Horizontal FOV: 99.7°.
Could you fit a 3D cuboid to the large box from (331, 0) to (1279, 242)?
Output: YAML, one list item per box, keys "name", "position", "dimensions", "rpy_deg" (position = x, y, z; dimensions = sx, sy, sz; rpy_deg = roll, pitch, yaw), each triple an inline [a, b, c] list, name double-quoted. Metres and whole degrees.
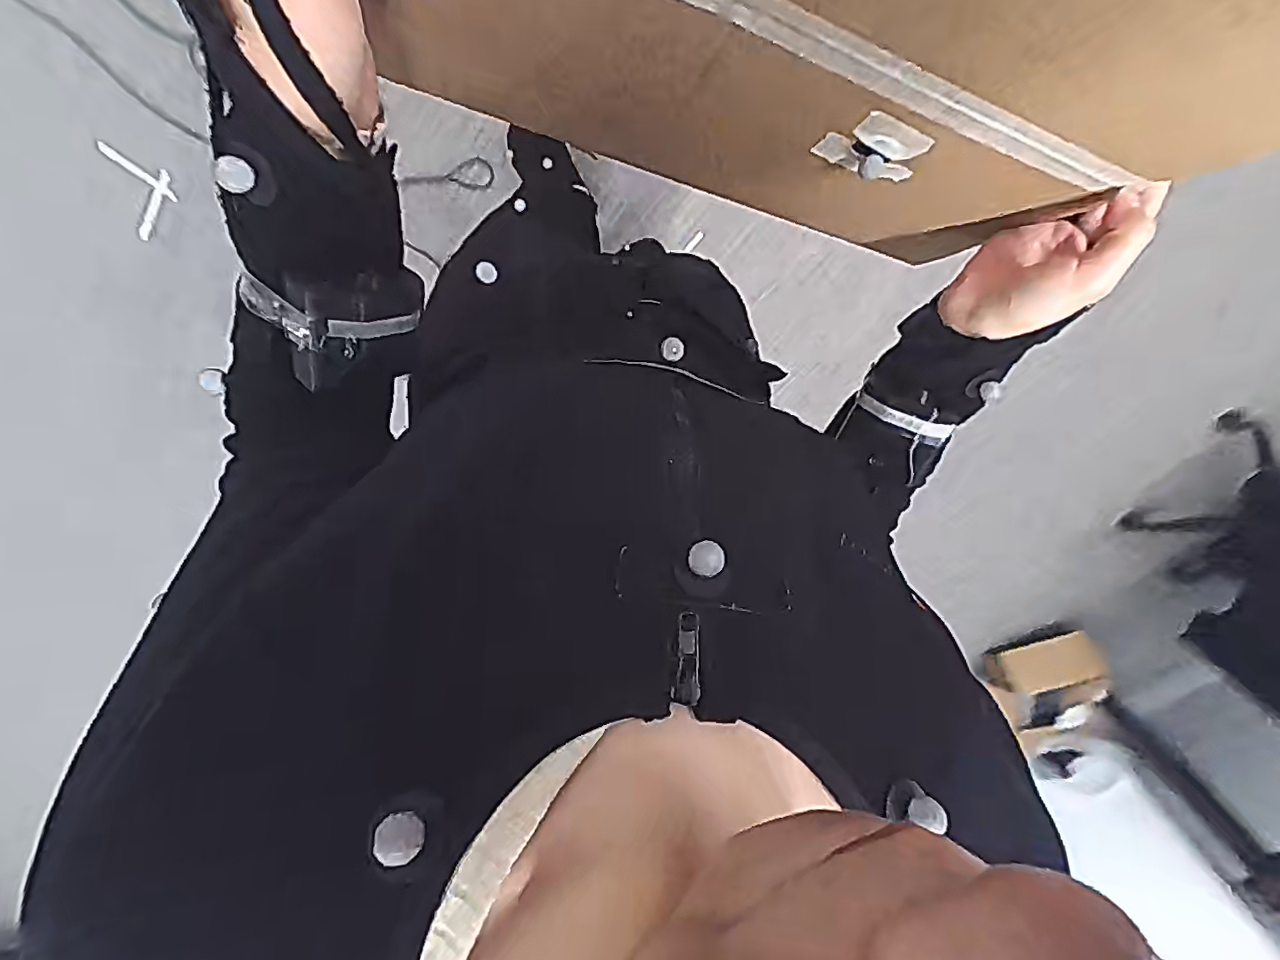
- name: "large box"
  position: [0.088, -0.341, 0.215]
  dimensions: [0.408, 0.320, 0.320]
  rpy_deg: [7, 96, -18]
